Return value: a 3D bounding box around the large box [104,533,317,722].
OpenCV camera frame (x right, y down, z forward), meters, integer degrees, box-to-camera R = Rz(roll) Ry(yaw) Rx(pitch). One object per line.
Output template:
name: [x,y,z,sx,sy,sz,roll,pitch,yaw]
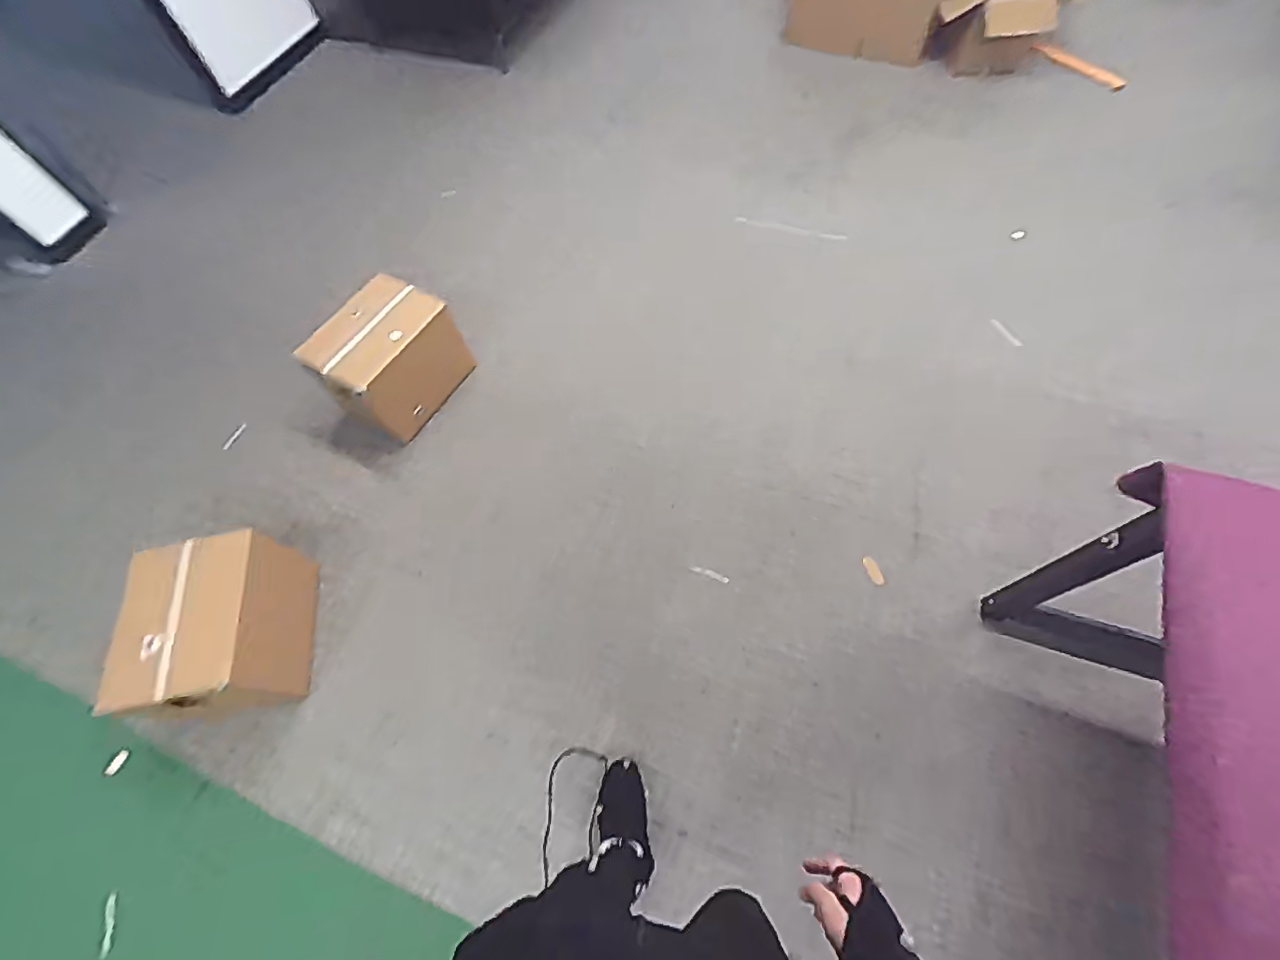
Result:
large box: [-1.124,0.407,1.470,0.320,0.320,0.408,-13,64,-1]
